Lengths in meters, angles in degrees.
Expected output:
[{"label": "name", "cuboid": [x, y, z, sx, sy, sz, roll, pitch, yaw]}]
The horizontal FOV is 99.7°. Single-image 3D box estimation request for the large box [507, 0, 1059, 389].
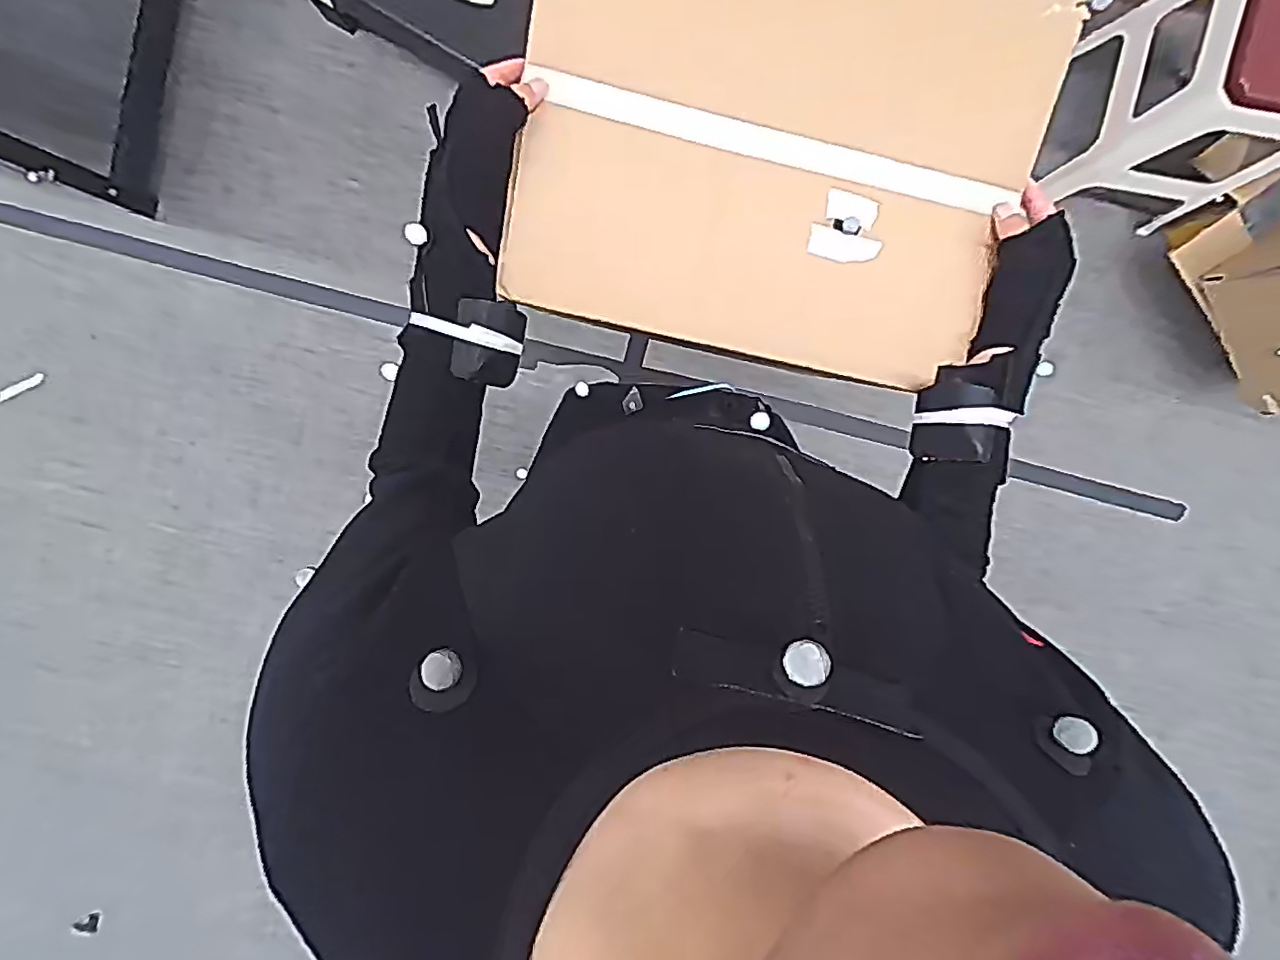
[{"label": "large box", "cuboid": [0.098, -0.298, 0.581, 0.408, 0.320, 0.320, 11, 104, -7]}]
